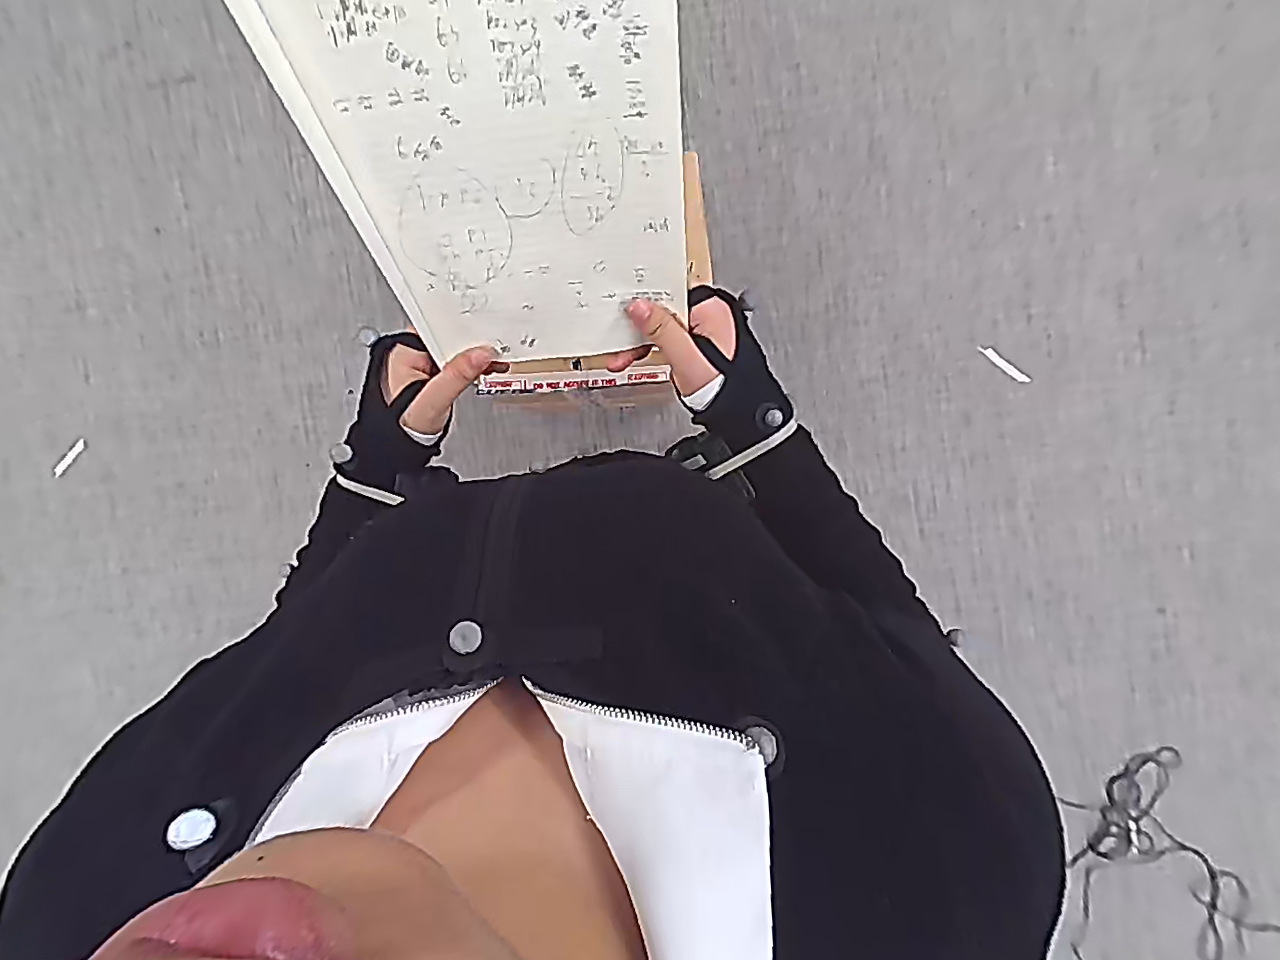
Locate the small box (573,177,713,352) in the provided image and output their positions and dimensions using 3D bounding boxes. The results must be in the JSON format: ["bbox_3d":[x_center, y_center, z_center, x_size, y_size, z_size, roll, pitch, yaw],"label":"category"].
[{"bbox_3d":[0.002,-0.293,0.768,0.168,0.176,0.179,-7,93,-1],"label":"small box"}]

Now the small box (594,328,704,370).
[{"bbox_3d":[0.003,-0.294,0.932,0.179,0.176,0.168,-10,93,1],"label":"small box"}]
